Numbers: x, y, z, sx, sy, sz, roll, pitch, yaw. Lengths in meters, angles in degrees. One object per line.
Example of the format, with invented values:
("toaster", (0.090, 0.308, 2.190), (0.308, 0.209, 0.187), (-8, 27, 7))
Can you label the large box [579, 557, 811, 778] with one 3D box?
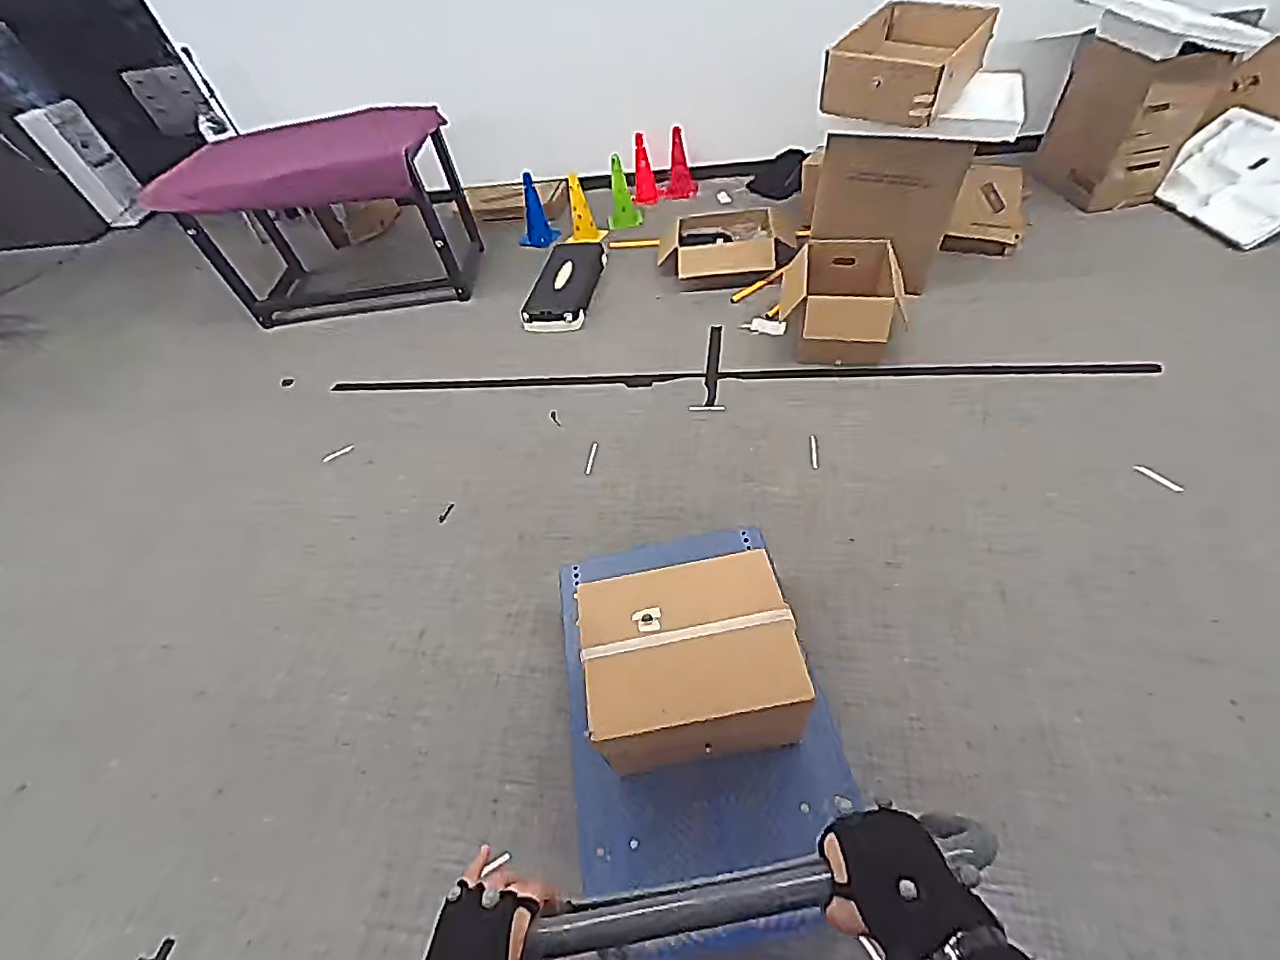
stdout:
("large box", (0.111, 0.412, 1.168), (0.408, 0.320, 0.320), (-12, 49, 1))
